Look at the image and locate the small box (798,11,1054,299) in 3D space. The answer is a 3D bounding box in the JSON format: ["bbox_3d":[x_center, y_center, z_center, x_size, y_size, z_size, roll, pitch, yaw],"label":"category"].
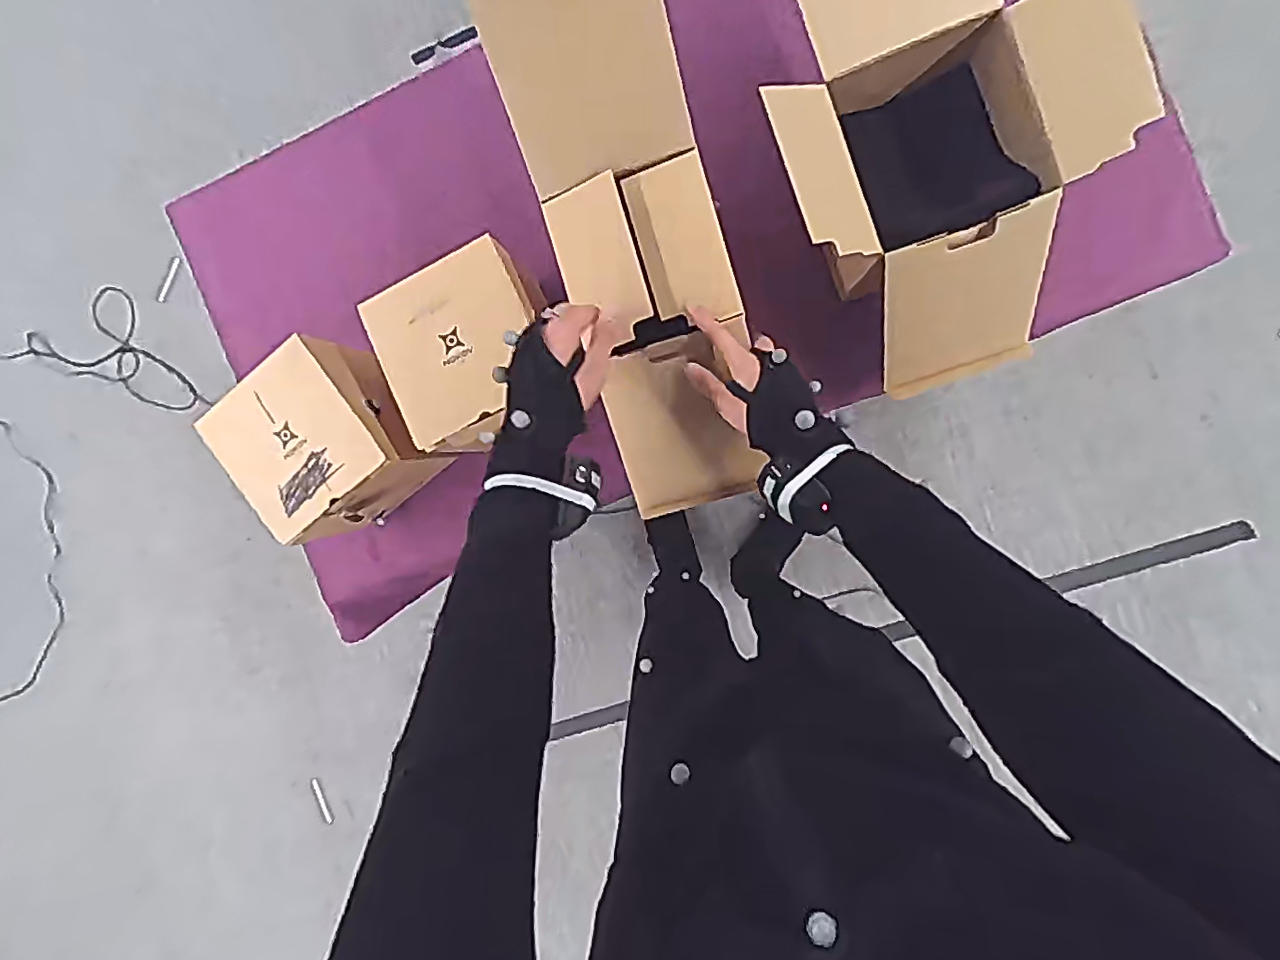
[{"bbox_3d":[0.280,-0.320,0.575,0.168,0.176,0.179,-19,91,9],"label":"small box"}]
